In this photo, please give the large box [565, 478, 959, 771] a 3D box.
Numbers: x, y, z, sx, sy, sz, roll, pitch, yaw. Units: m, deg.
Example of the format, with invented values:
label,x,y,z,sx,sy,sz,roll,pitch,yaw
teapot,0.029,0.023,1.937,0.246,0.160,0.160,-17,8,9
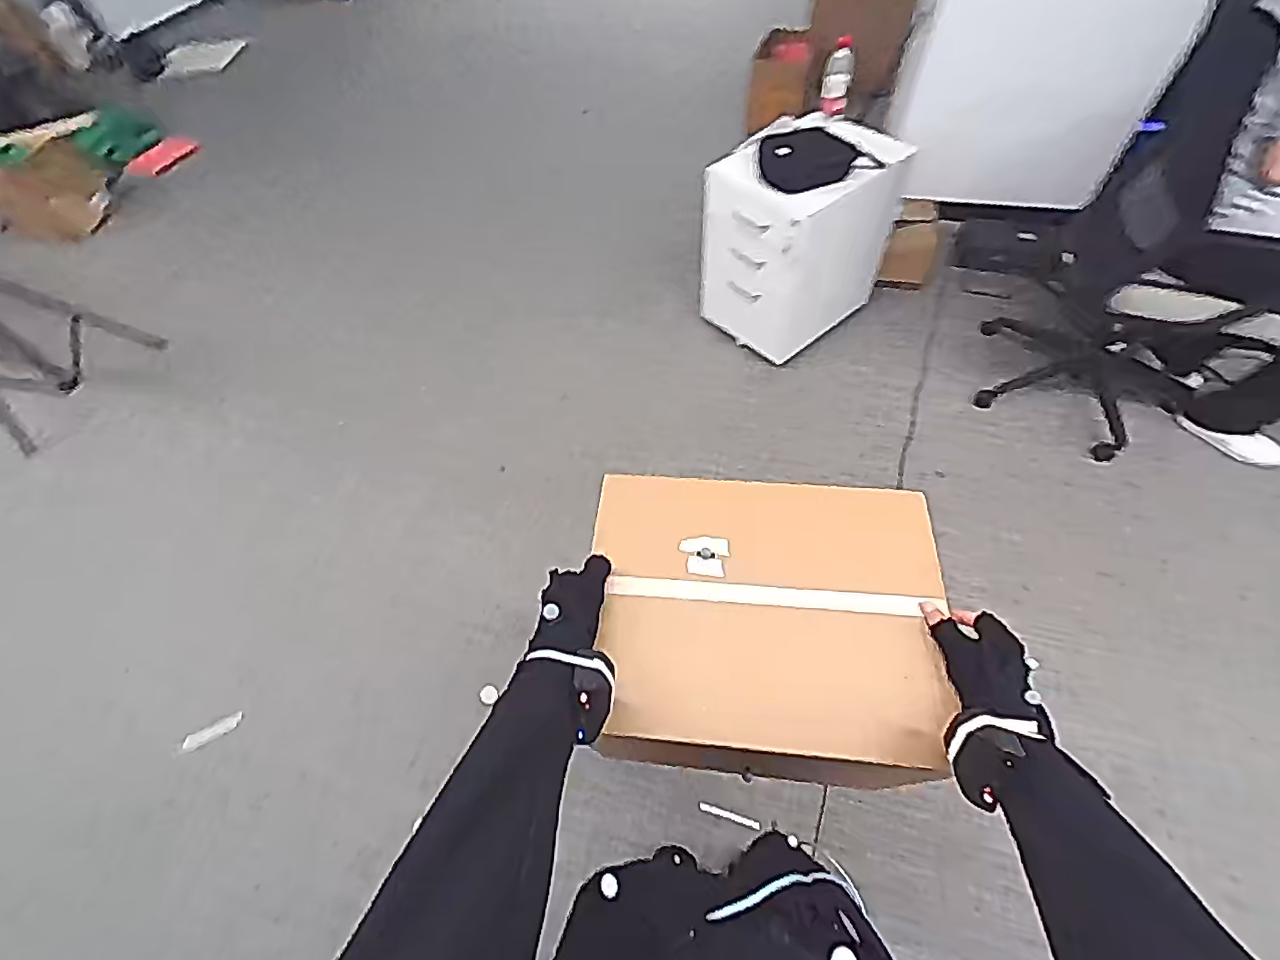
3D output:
label,x,y,z,sx,sy,sz,roll,pitch,yaw
large box,0.144,0.210,0.751,0.408,0.320,0.320,3,58,7
